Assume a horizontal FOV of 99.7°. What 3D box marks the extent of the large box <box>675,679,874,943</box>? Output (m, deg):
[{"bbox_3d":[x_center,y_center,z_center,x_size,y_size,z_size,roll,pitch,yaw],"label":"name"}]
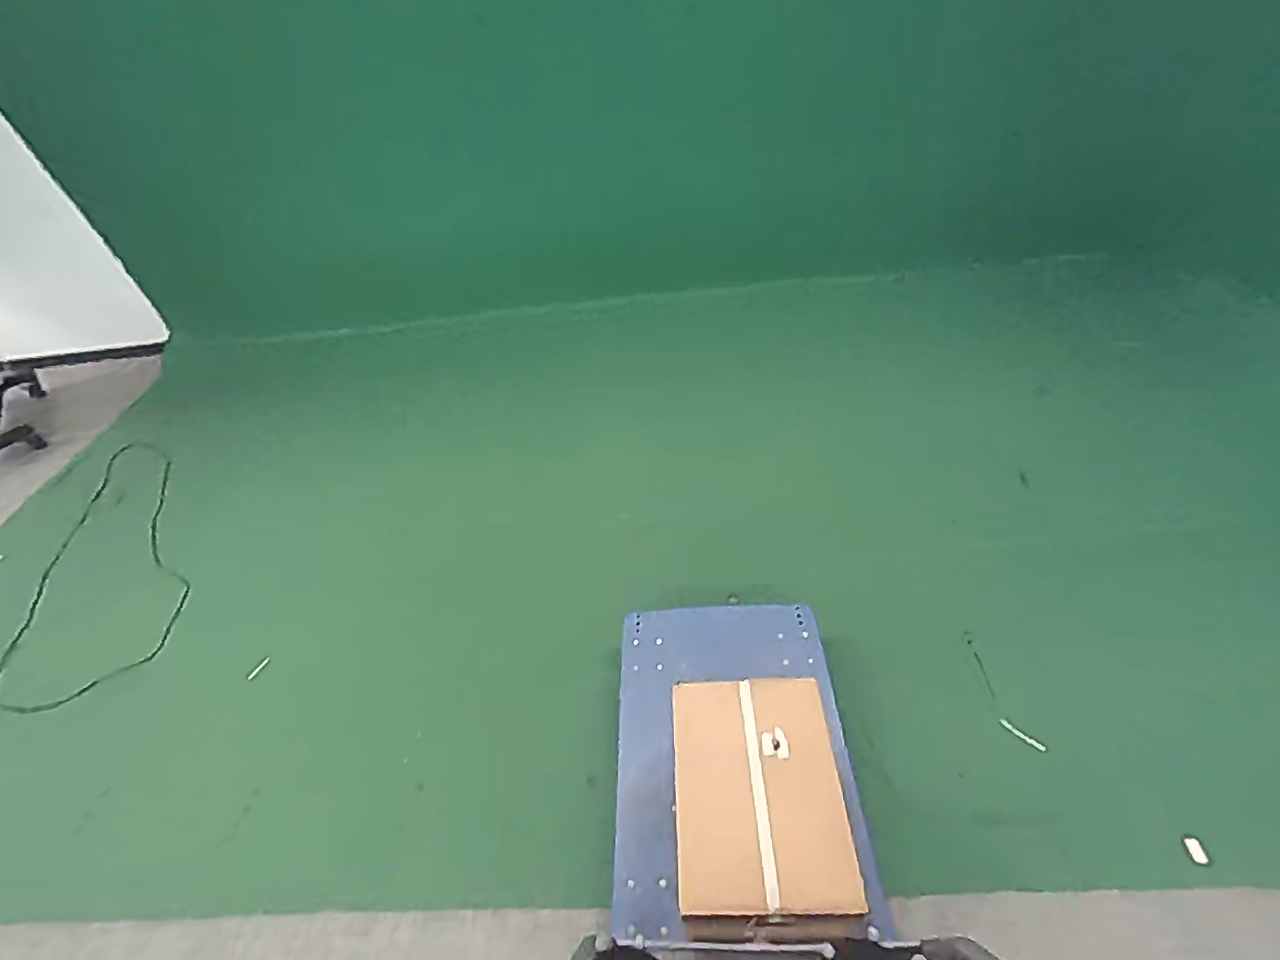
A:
[{"bbox_3d":[0.245,0.682,1.125,0.320,0.320,0.408,-4,43,4],"label":"large box"}]
